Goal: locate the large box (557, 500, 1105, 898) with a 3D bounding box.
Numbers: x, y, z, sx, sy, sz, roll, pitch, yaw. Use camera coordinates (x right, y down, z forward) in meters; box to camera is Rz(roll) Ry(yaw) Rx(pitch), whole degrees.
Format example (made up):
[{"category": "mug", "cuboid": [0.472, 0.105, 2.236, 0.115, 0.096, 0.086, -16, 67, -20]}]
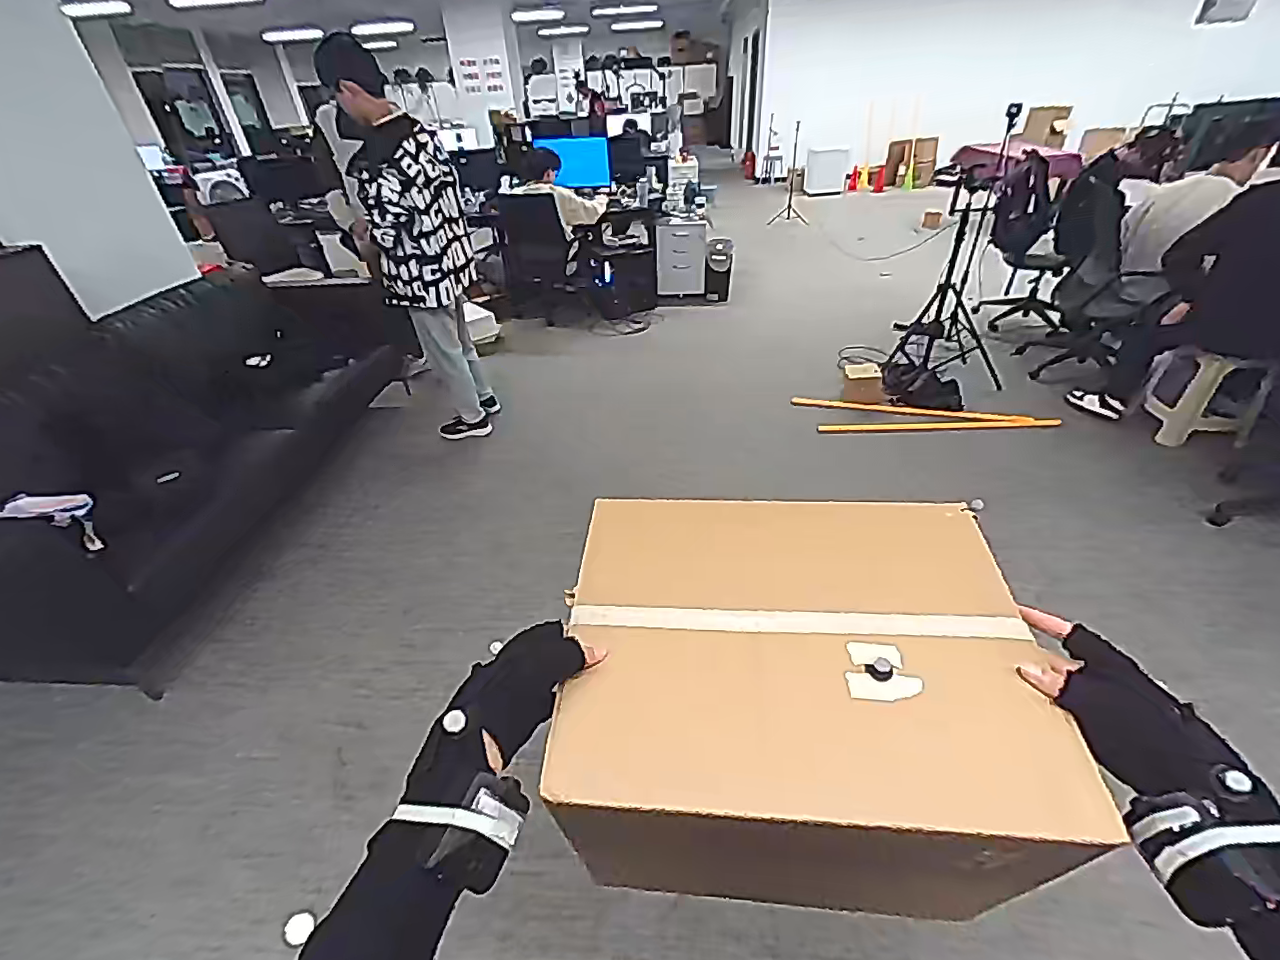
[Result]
[{"category": "large box", "cuboid": [0.148, 0.237, 0.603, 0.408, 0.320, 0.320, 1, 44, 5]}]
